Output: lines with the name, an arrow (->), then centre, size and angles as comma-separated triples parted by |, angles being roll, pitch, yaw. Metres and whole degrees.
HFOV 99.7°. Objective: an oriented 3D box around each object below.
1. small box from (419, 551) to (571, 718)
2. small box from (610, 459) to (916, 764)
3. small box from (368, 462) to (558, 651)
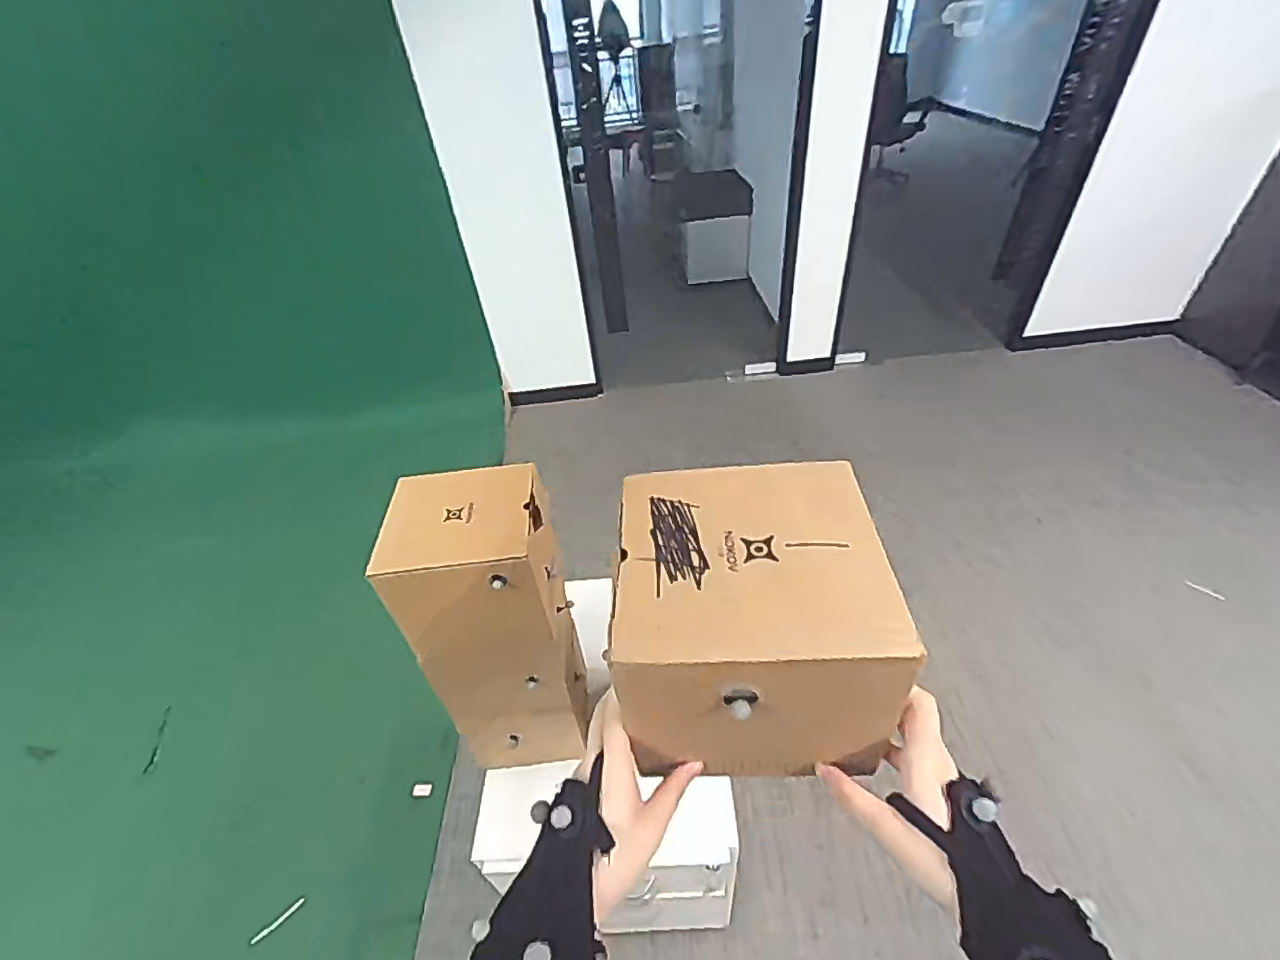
small box -> -0.195, 0.225, 0.791 | 0.179, 0.176, 0.168 | -7, 41, -3
small box -> 0.080, 0.103, 0.418 | 0.179, 0.176, 0.168 | -3, 42, 5
small box -> -0.206, 0.100, 0.687 | 0.179, 0.176, 0.168 | -6, 41, -3
